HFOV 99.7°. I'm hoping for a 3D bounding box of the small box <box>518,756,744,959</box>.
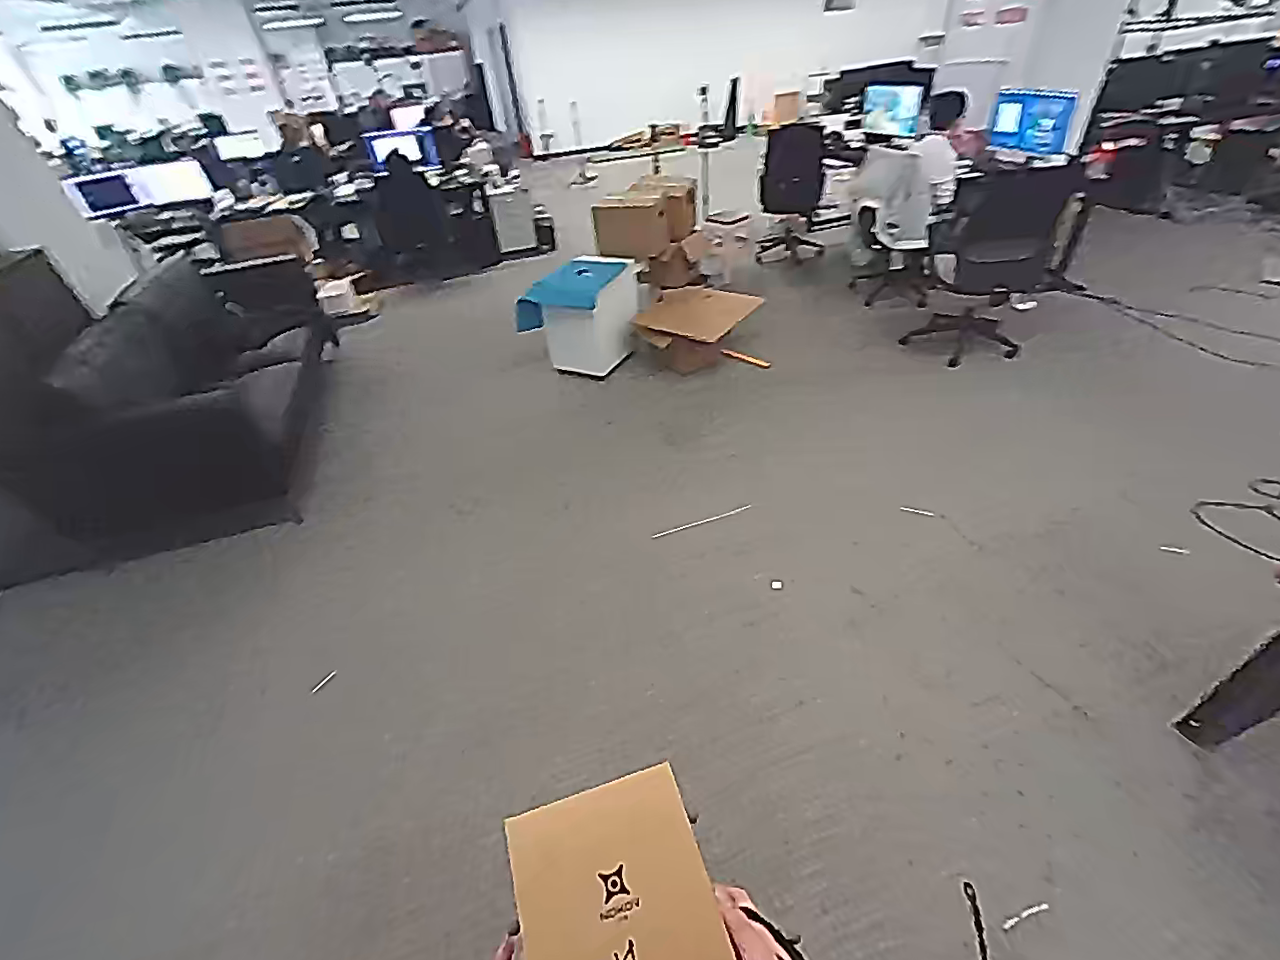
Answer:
[{"bbox_3d":[-0.017,0.407,0.529,0.168,0.176,0.179,-12,50,-13],"label":"small box"}]
